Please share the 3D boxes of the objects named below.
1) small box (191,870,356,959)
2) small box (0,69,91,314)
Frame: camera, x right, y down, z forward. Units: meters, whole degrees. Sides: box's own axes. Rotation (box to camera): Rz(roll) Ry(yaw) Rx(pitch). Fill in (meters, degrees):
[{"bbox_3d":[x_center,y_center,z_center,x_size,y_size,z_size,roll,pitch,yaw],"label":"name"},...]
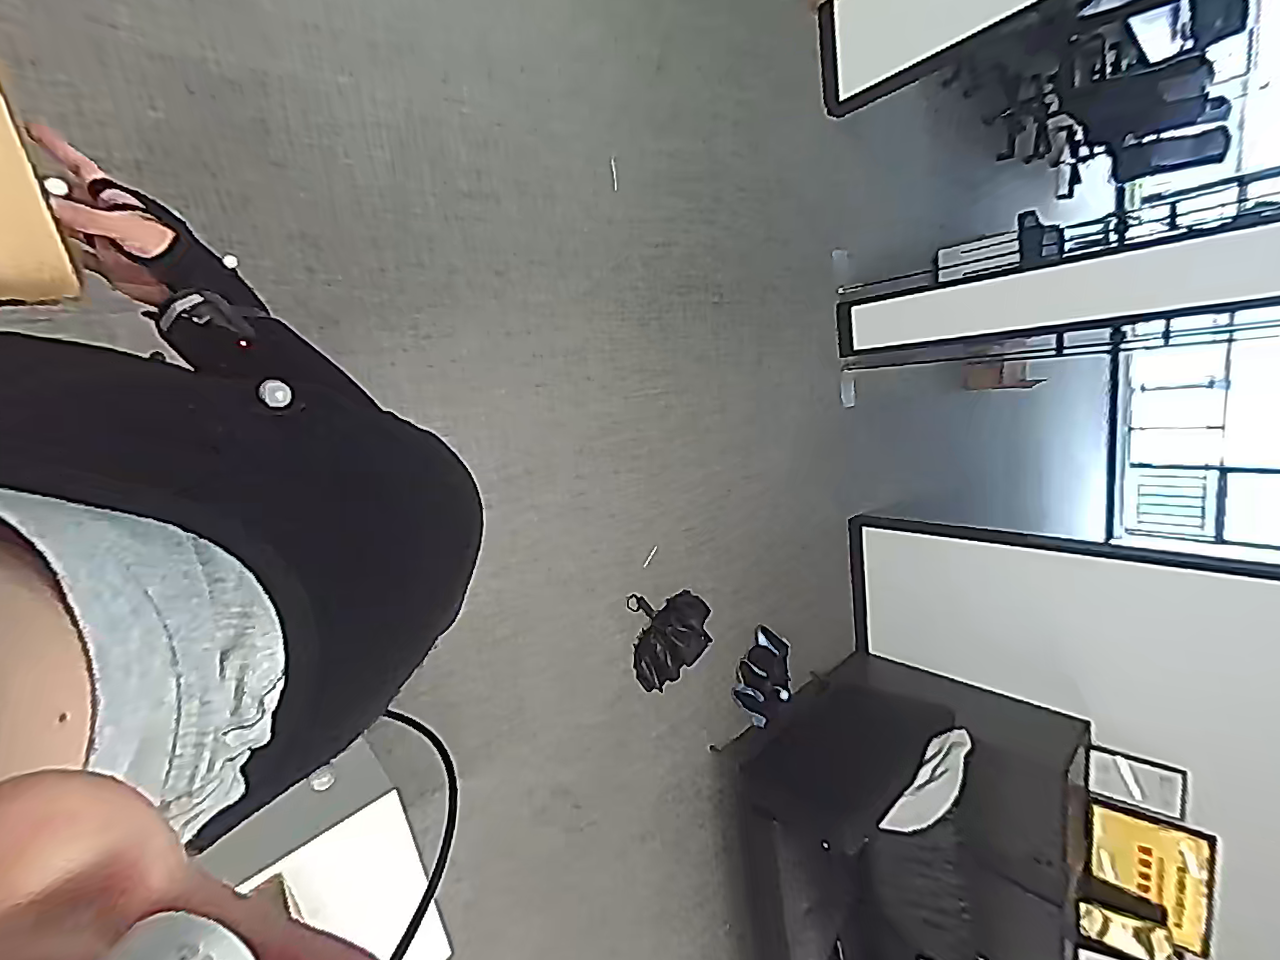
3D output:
[{"bbox_3d":[-0.524,0.735,0.794,0.168,0.176,0.179,-26,111,-37],"label":"small box"},{"bbox_3d":[-0.512,-0.208,0.361,0.168,0.176,0.179,-23,125,-38],"label":"small box"}]
